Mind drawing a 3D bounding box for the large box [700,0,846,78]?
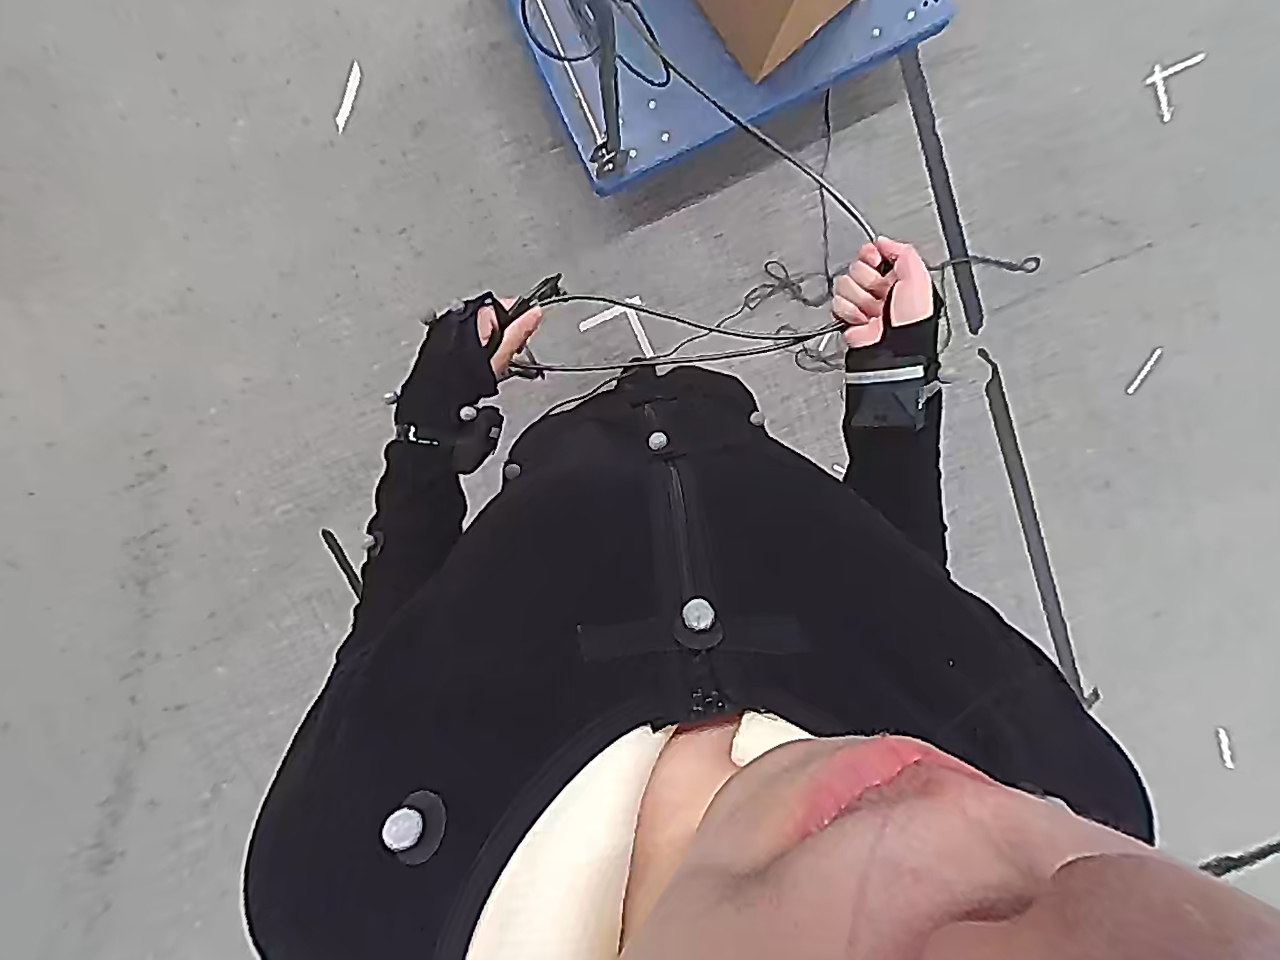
[{"bbox_3d":[0.242,-1.068,0.966,0.320,0.320,0.408,-39,101,6],"label":"large box"}]
